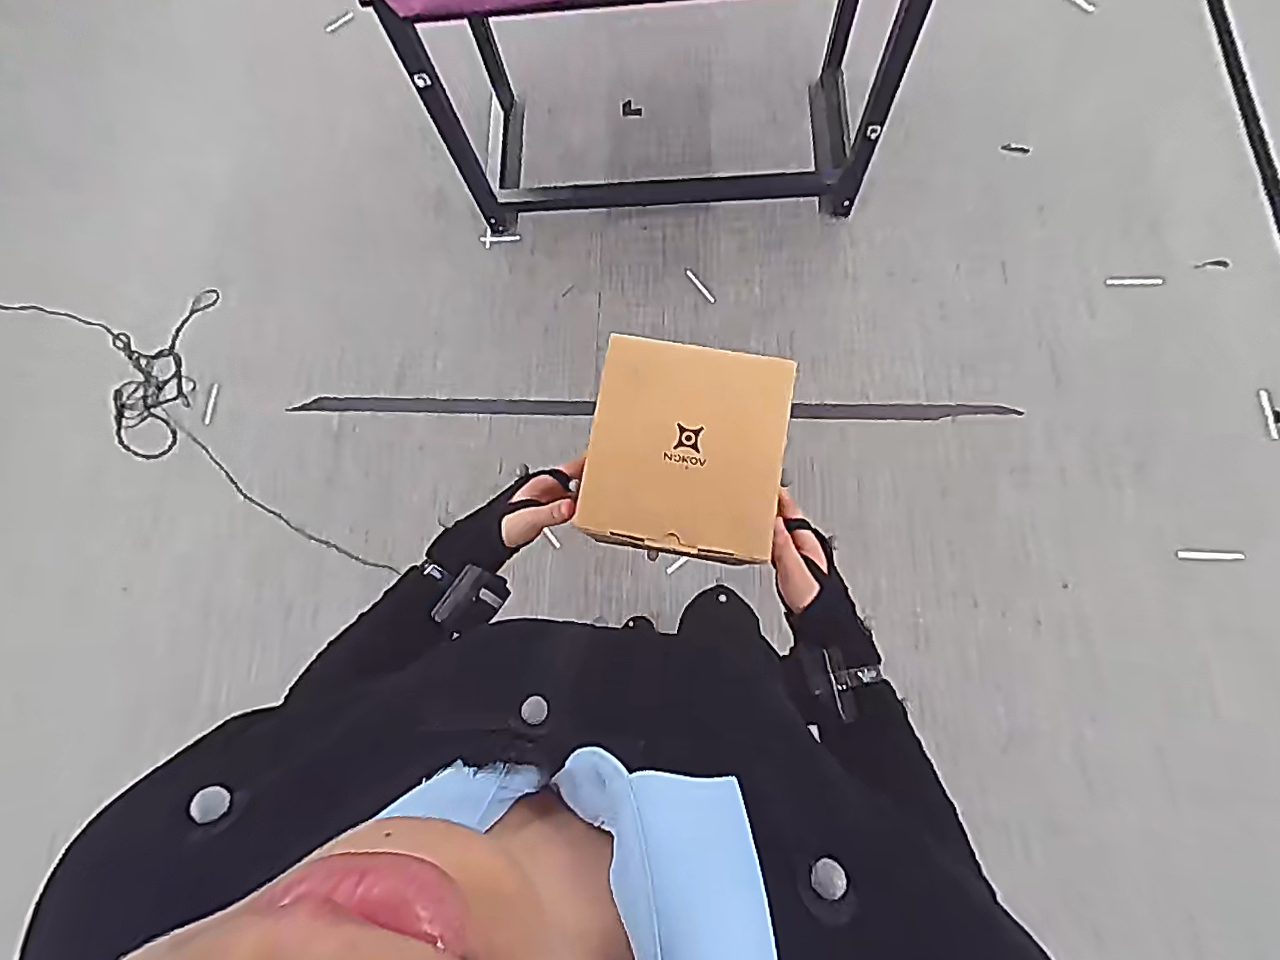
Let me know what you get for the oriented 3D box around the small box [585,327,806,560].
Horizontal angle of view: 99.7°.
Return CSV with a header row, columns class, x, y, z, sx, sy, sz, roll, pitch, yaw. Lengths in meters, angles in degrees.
class,x,y,z,sx,sy,sz,roll,pitch,yaw
small box,0.049,-0.023,0.527,0.168,0.176,0.179,9,81,3
